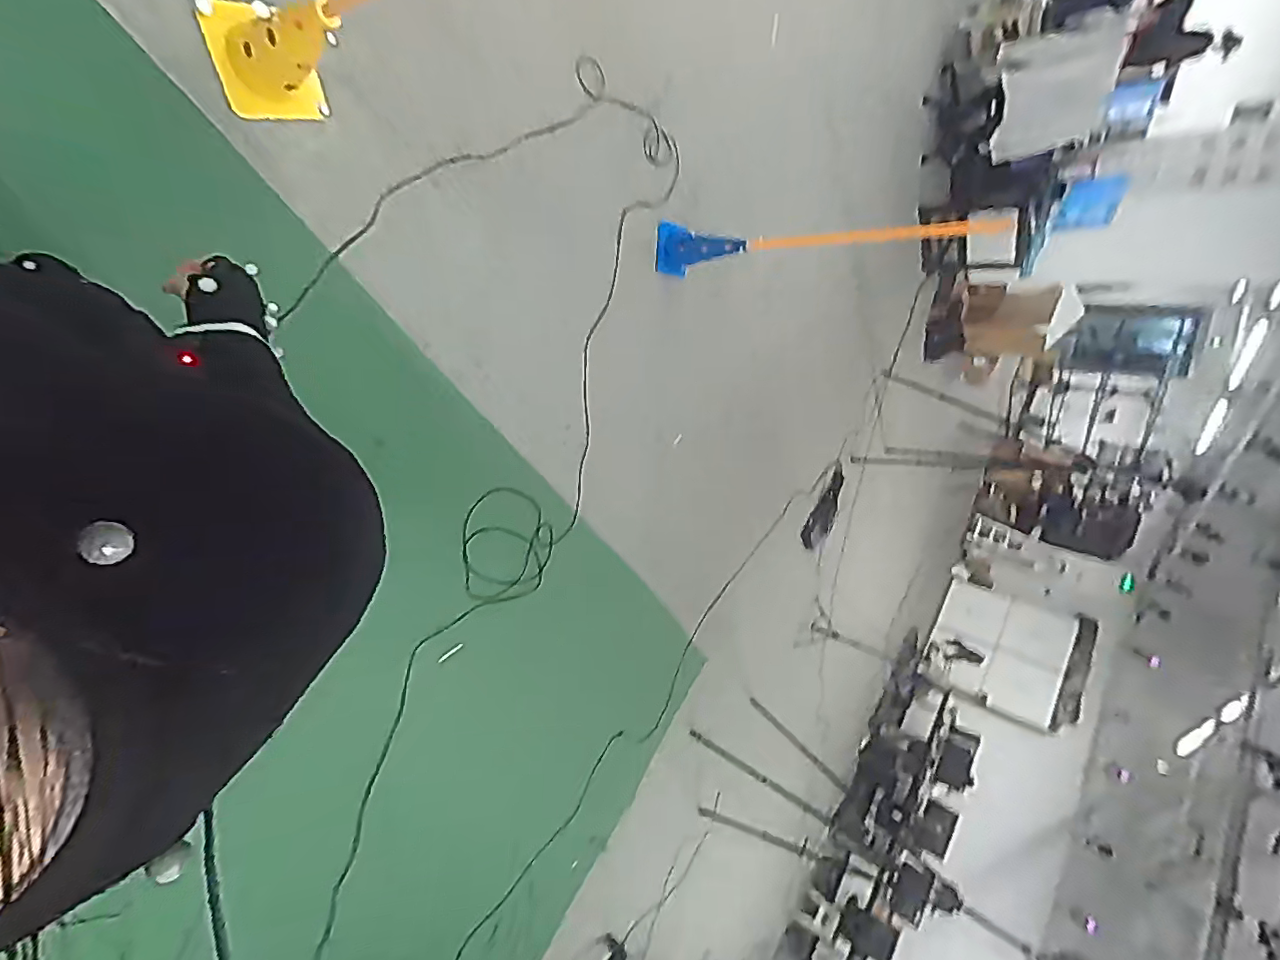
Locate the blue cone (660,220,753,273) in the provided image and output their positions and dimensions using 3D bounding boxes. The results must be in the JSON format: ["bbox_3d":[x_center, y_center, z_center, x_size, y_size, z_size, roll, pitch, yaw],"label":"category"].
[{"bbox_3d":[0.270,-0.932,2.138,0.193,0.380,0.192,-16,114,-49],"label":"blue cone"}]
